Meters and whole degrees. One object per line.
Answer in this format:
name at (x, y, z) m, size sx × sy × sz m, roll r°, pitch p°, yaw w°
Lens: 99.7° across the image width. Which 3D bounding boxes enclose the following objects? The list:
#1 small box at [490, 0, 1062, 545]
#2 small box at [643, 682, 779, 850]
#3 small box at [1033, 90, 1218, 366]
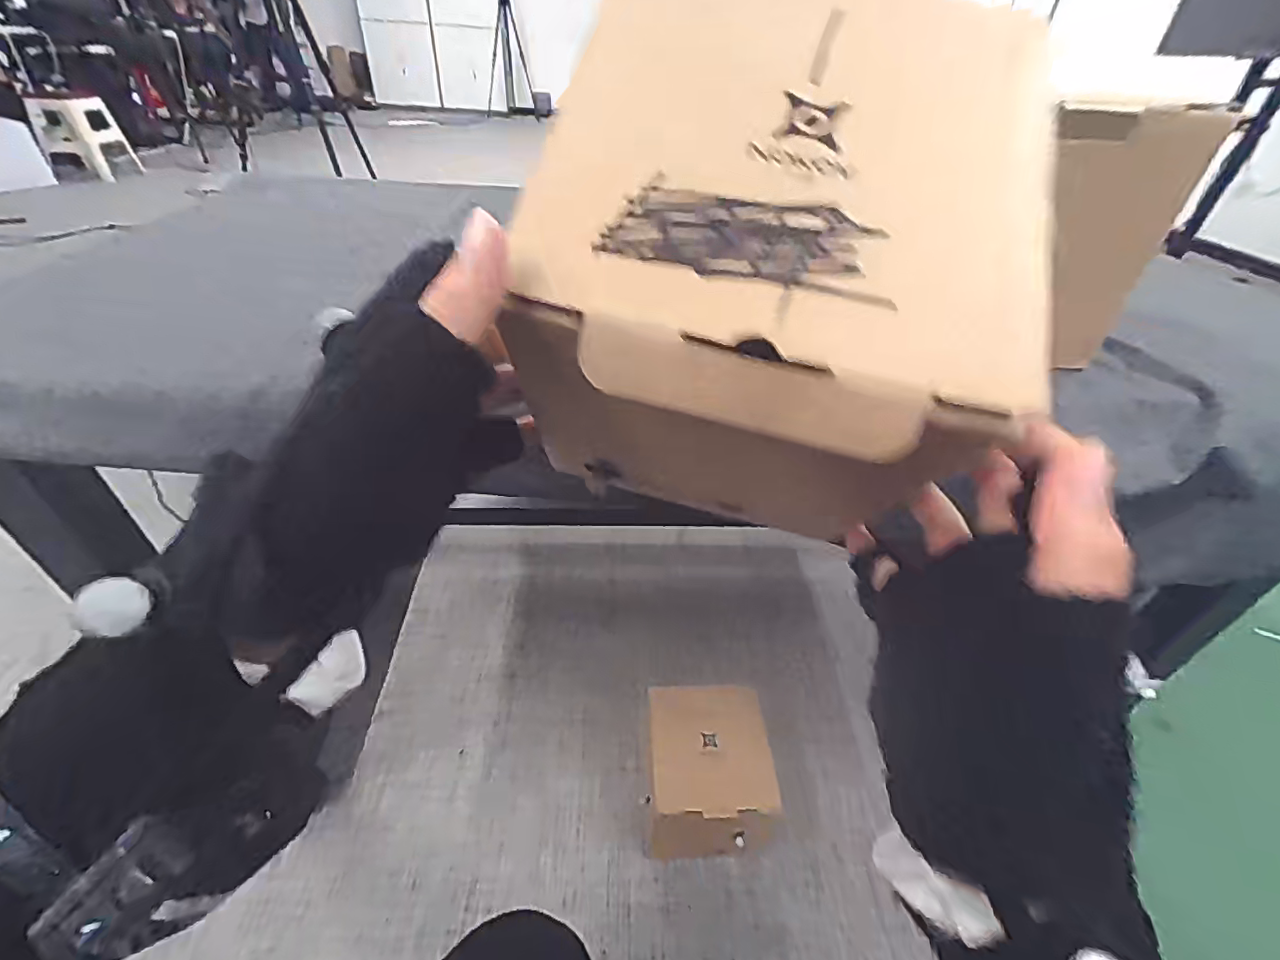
small box at (0.054, -0.079, 0.259) m, size 0.168 × 0.176 × 0.179 m, roll 15°, pitch 73°, yaw 4°
small box at (0.093, 0.426, 0.803) m, size 0.168 × 0.176 × 0.179 m, roll 0°, pitch 37°, yaw -5°
small box at (0.265, -0.205, 0.434) m, size 0.168 × 0.176 × 0.179 m, roll 5°, pitch 39°, yaw 2°
